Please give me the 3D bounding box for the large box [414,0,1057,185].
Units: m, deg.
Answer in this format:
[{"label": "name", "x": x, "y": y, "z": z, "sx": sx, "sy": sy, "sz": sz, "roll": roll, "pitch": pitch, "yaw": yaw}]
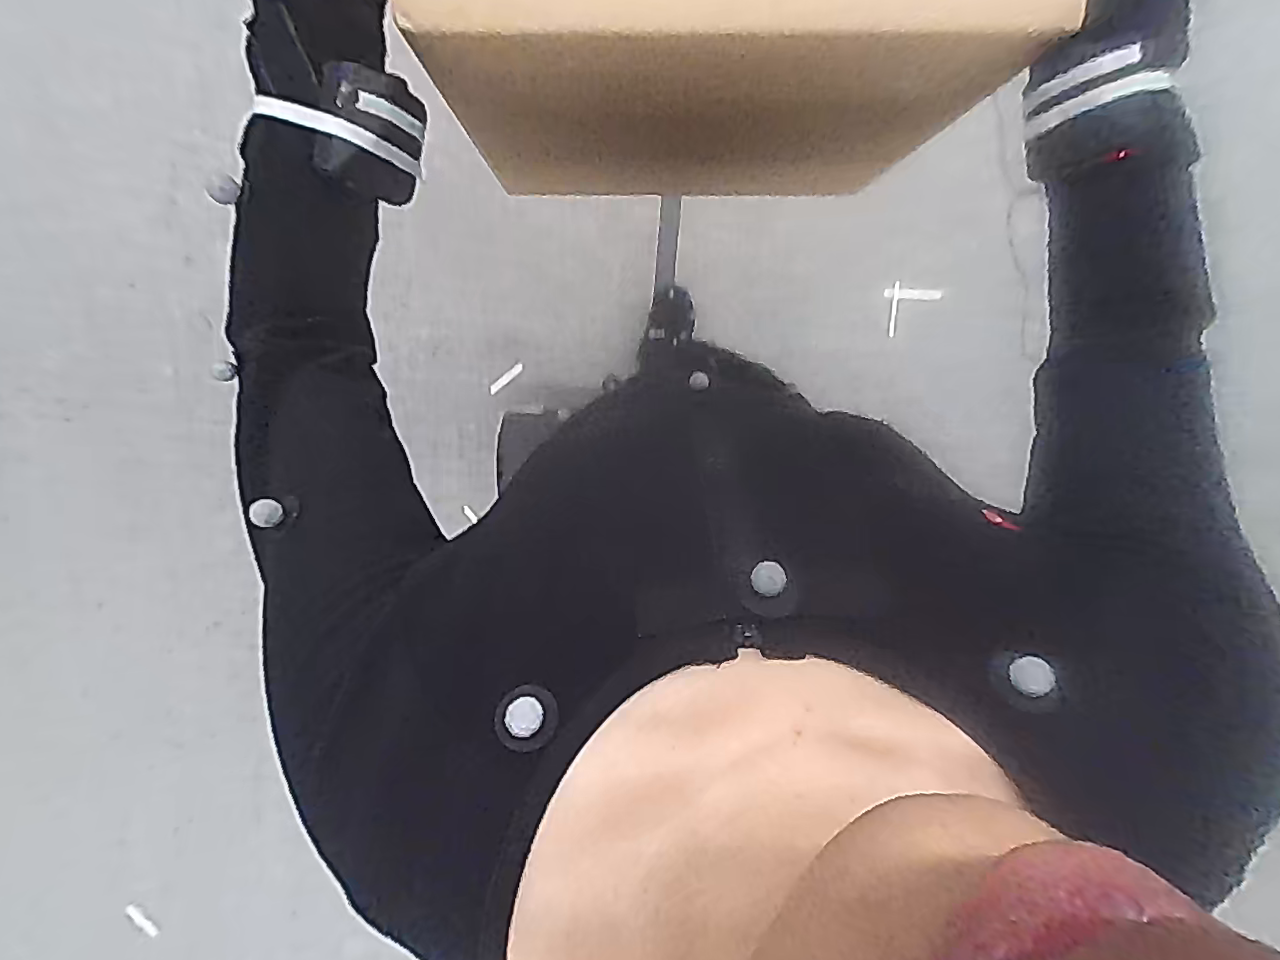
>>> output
[{"label": "large box", "x": 0.051, "y": -0.460, "z": 0.441, "sx": 0.408, "sy": 0.320, "sz": 0.320, "roll": -1, "pitch": 102, "yaw": -2}]
